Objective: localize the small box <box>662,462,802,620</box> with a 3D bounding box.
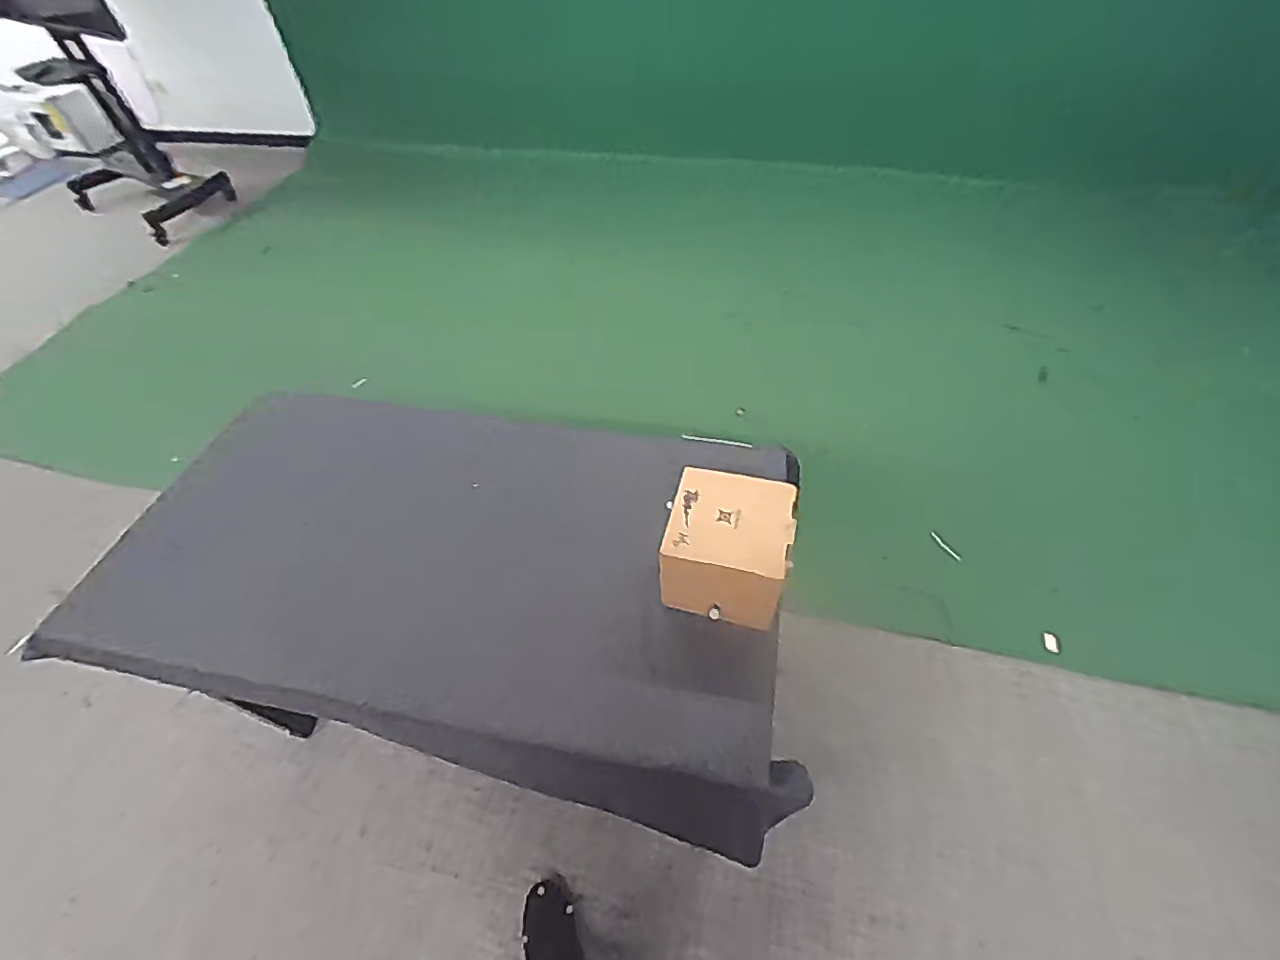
[{"bbox_3d":[0.139,0.100,0.843,0.179,0.176,0.168,12,54,11],"label":"small box"}]
